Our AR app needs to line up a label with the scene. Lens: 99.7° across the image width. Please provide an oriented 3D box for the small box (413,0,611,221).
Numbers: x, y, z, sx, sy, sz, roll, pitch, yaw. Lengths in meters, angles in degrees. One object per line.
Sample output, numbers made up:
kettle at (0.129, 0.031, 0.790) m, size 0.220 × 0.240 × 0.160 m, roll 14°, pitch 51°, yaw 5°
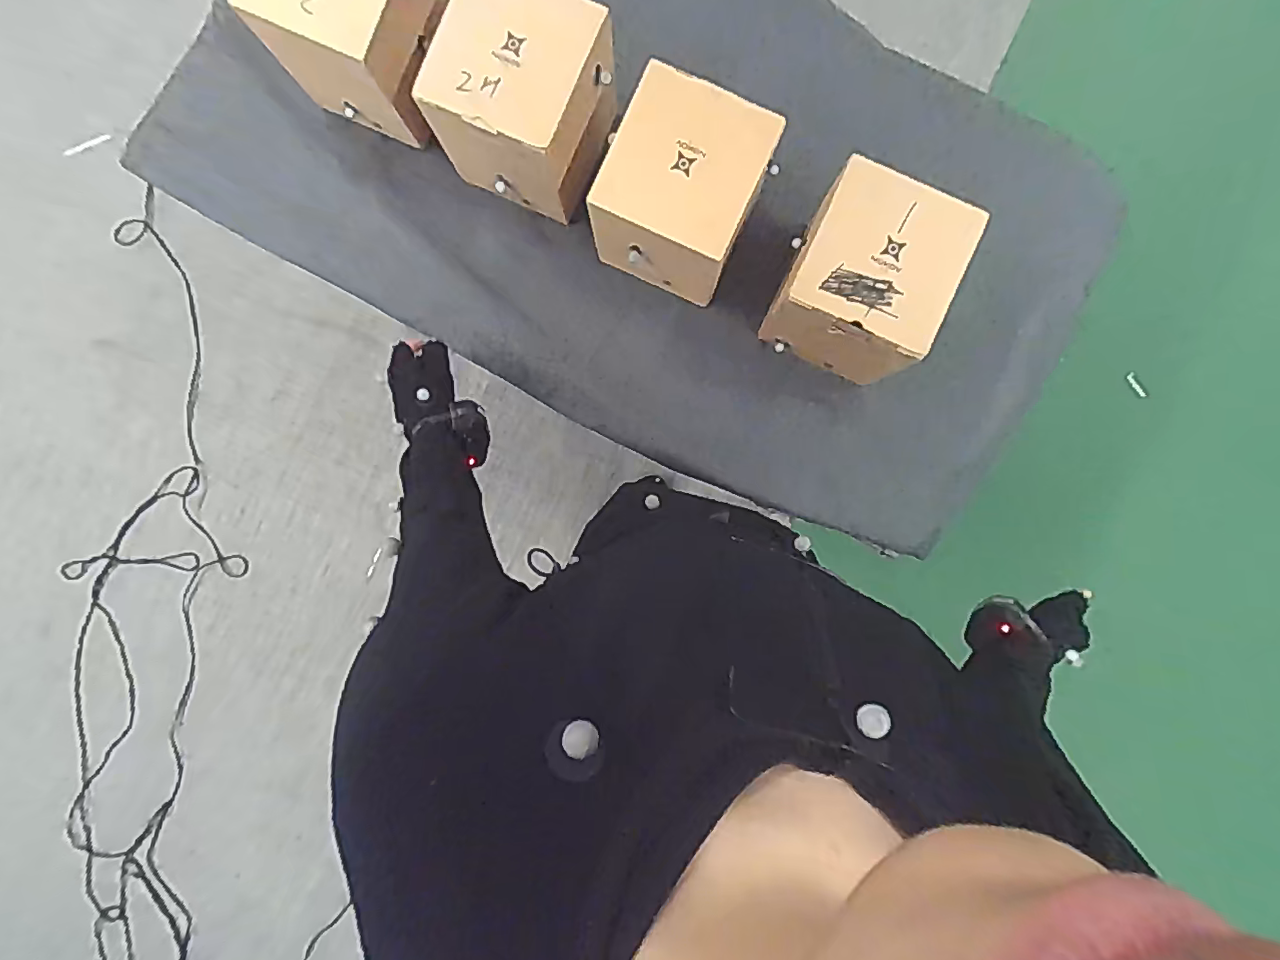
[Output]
small box at (-0.142, -0.467, 0.671) m, size 0.168 × 0.176 × 0.179 m, roll 24°, pitch 90°, yaw 1°

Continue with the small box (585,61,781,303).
small box at (0.049, -0.349, 0.672) m, size 0.168 × 0.176 × 0.179 m, roll 24°, pitch 90°, yaw 1°
